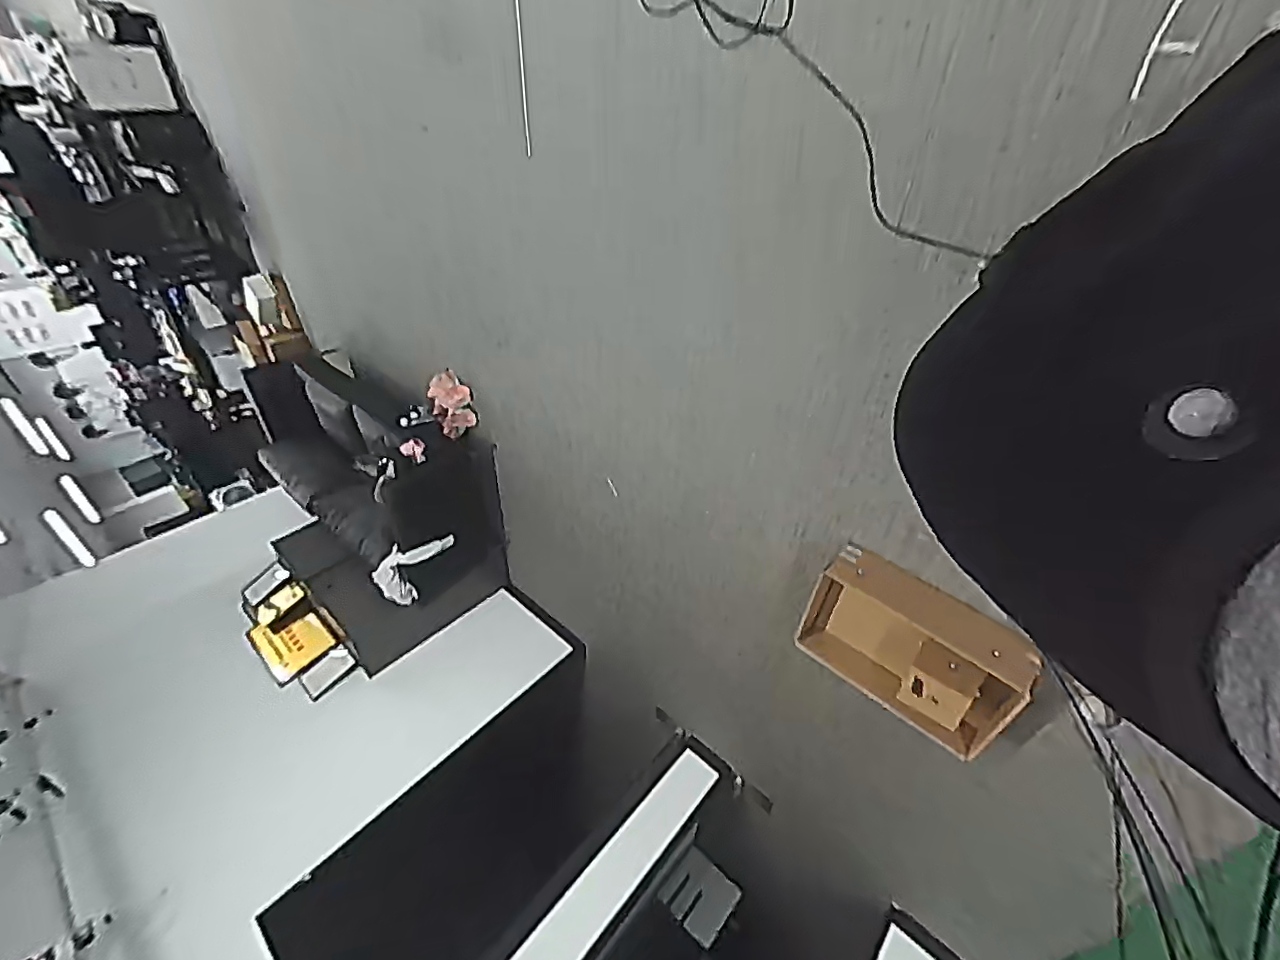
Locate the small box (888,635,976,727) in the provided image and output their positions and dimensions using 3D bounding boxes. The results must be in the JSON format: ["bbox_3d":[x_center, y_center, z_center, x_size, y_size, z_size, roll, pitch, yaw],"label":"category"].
[{"bbox_3d":[0.903,0.610,1.673,0.179,0.176,0.168,26,132,29],"label":"small box"}]
